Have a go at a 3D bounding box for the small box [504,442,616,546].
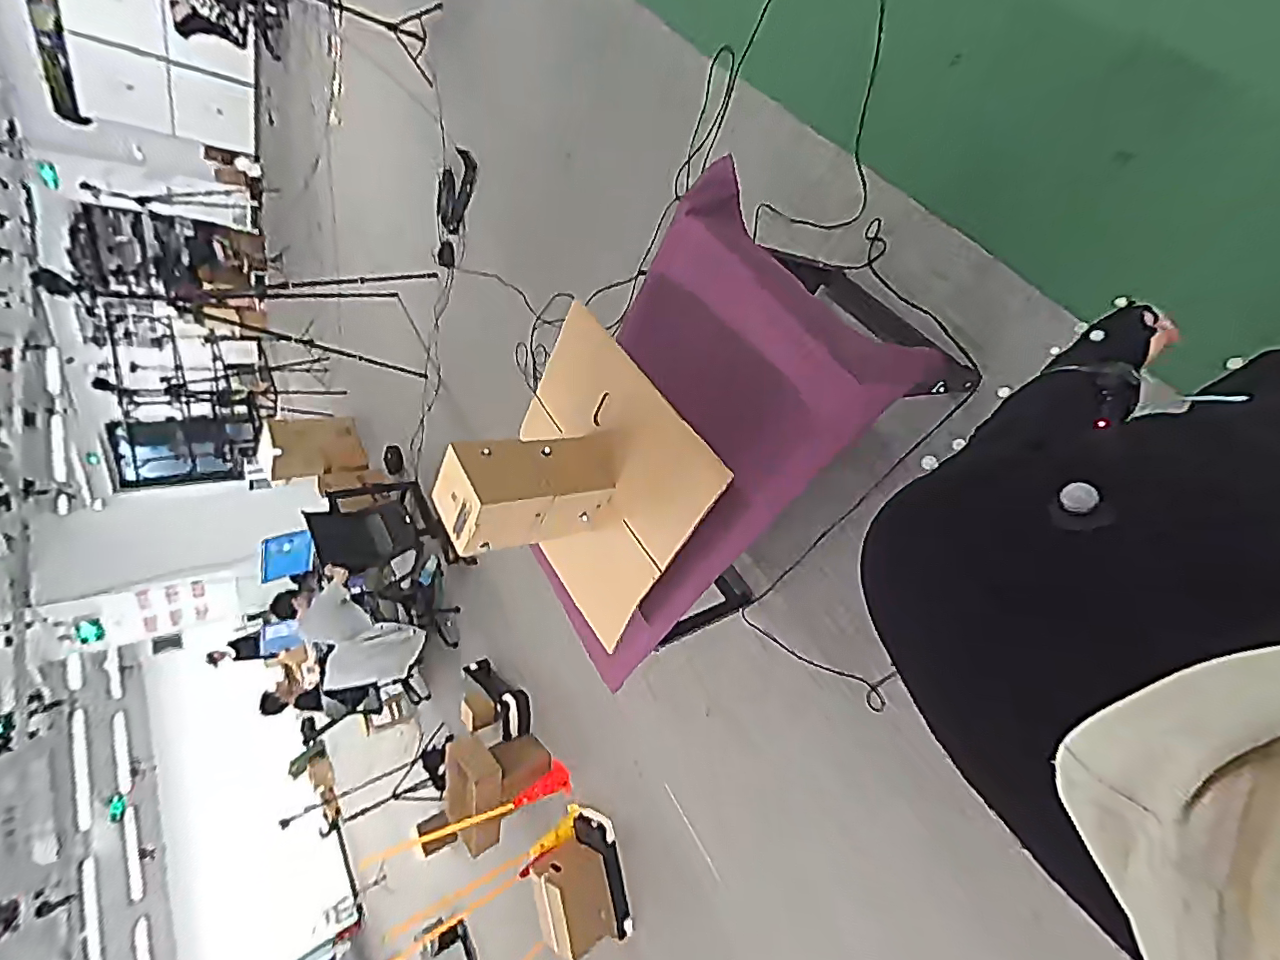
[{"bbox_3d":[-0.188,0.027,1.268,0.179,0.176,0.168,53,130,26],"label":"small box"}]
